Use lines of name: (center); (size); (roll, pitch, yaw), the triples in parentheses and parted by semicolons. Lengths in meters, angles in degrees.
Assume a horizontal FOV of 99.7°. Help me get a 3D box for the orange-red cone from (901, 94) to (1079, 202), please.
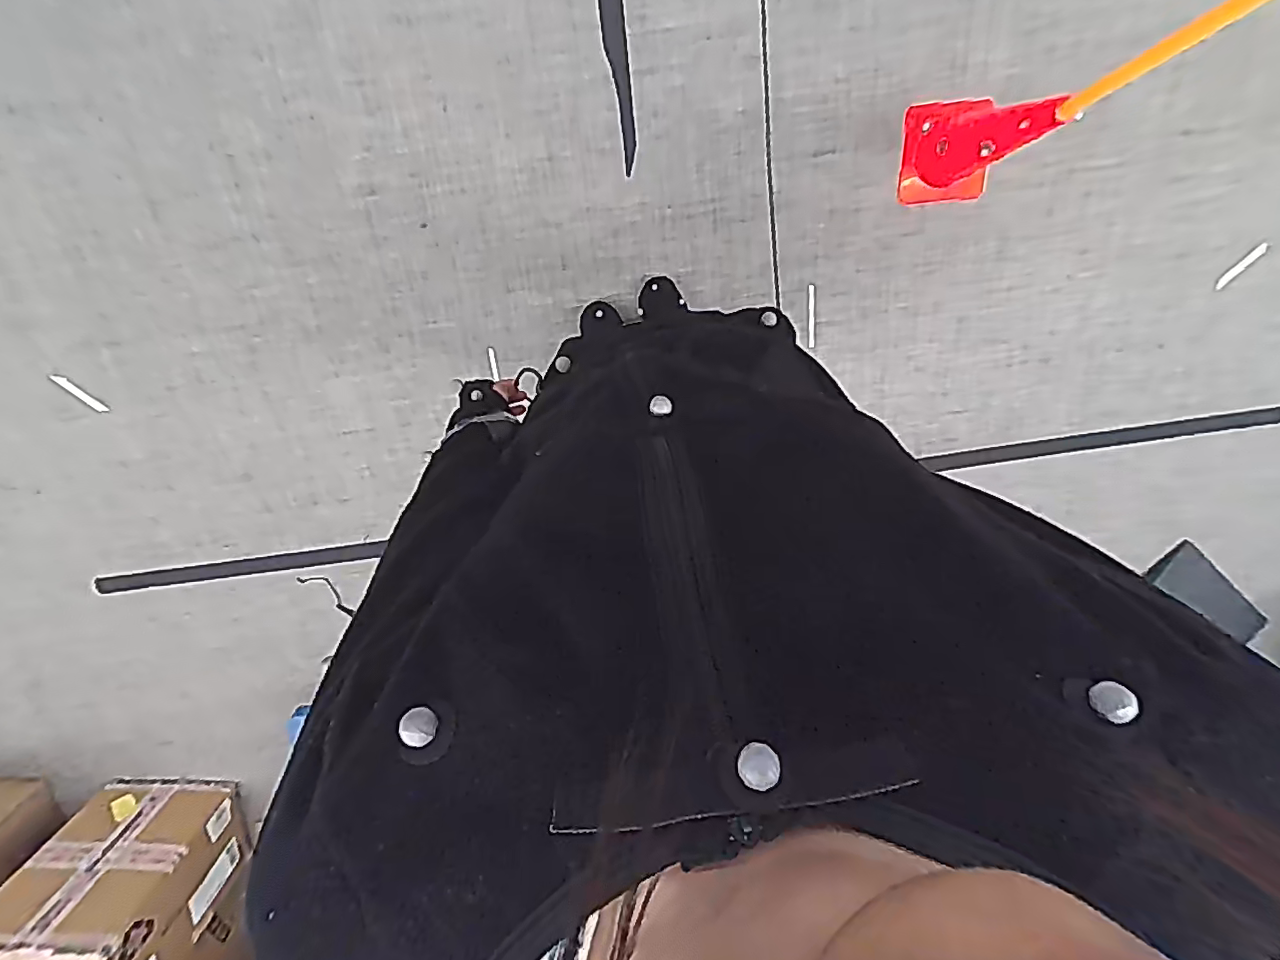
orange-red cone: (0.697, -0.675, 1.051); (0.198, 0.360, 0.199); (-4, 112, -1)
